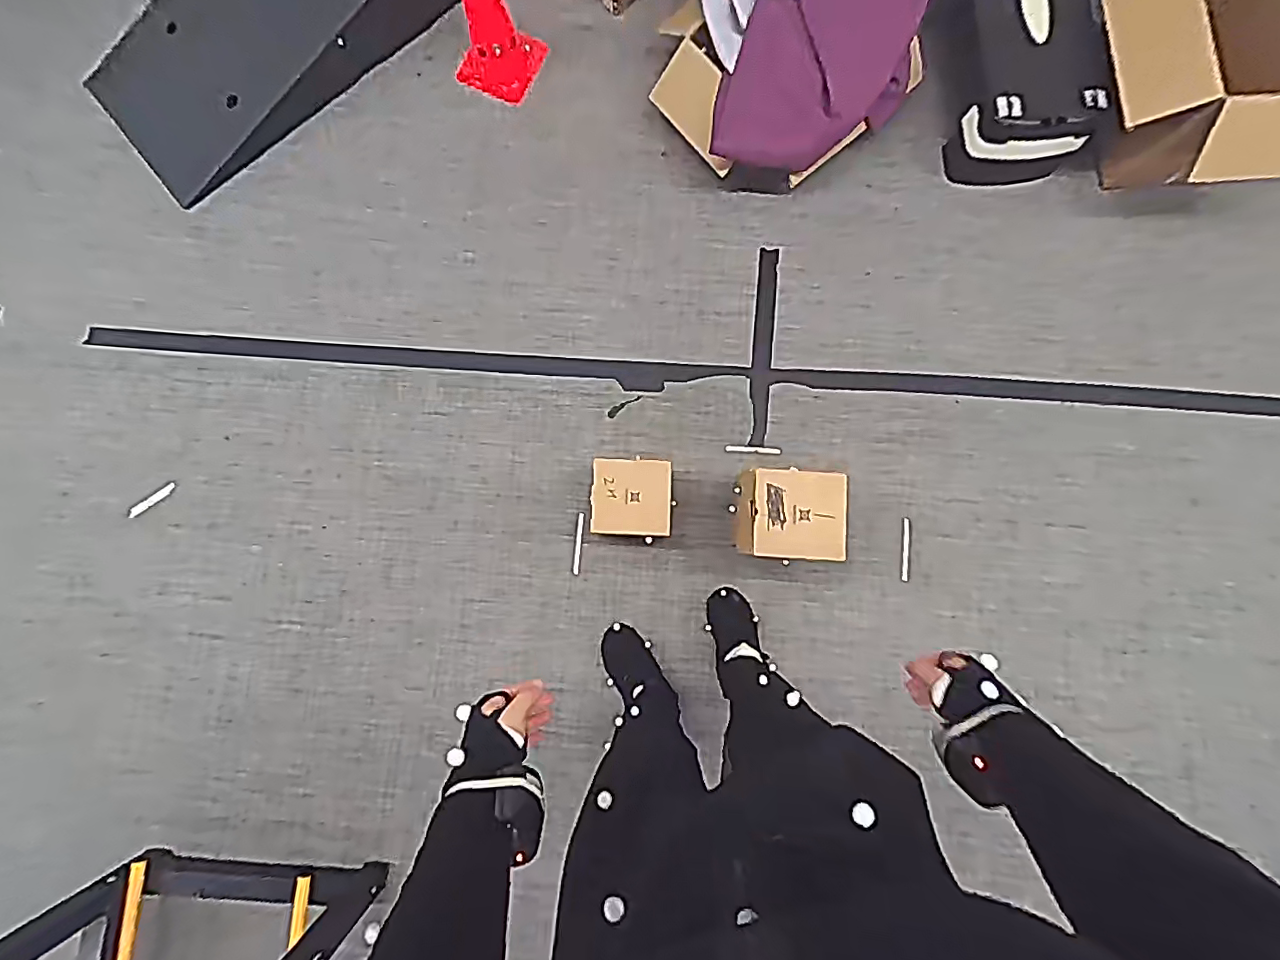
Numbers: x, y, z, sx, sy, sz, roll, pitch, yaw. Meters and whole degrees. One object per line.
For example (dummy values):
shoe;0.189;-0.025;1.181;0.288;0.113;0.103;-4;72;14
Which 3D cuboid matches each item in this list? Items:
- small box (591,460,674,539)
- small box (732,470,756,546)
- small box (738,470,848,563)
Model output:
small box;-0.016;0.050;1.258;0.179;0.176;0.168;2;84;2
small box;0.311;0.079;1.252;0.168;0.176;0.179;6;85;1
small box;0.298;0.076;1.085;0.179;0.176;0.168;4;84;0
